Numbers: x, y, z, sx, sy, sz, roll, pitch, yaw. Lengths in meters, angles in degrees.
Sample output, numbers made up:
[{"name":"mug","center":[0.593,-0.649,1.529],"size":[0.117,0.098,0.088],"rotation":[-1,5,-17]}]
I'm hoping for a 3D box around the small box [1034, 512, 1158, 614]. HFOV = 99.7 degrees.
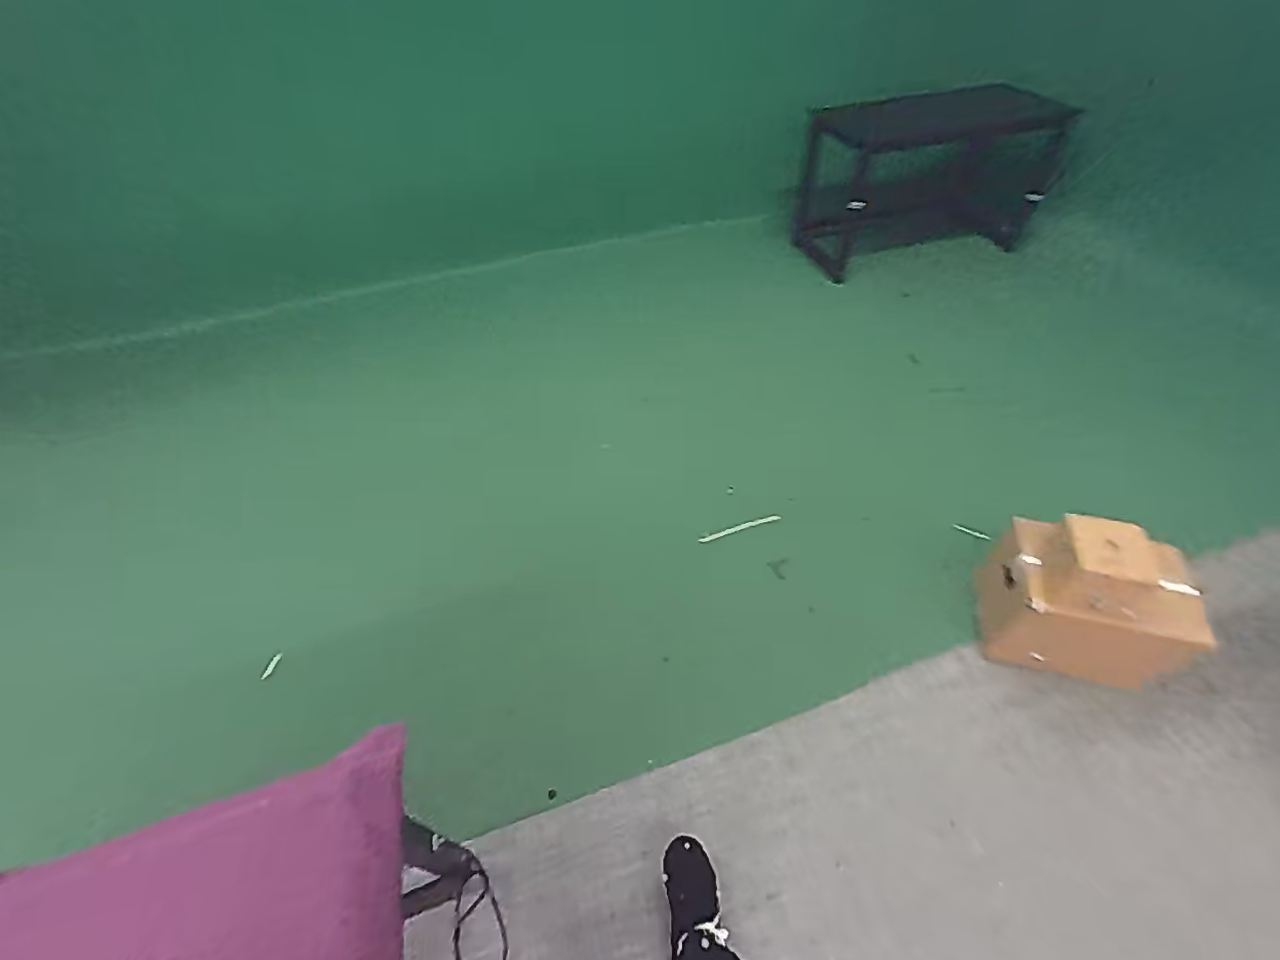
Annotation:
[{"name":"small box","center":[1.143,0.212,1.375],"size":[0.168,0.176,0.179],"rotation":[10,51,12]}]
